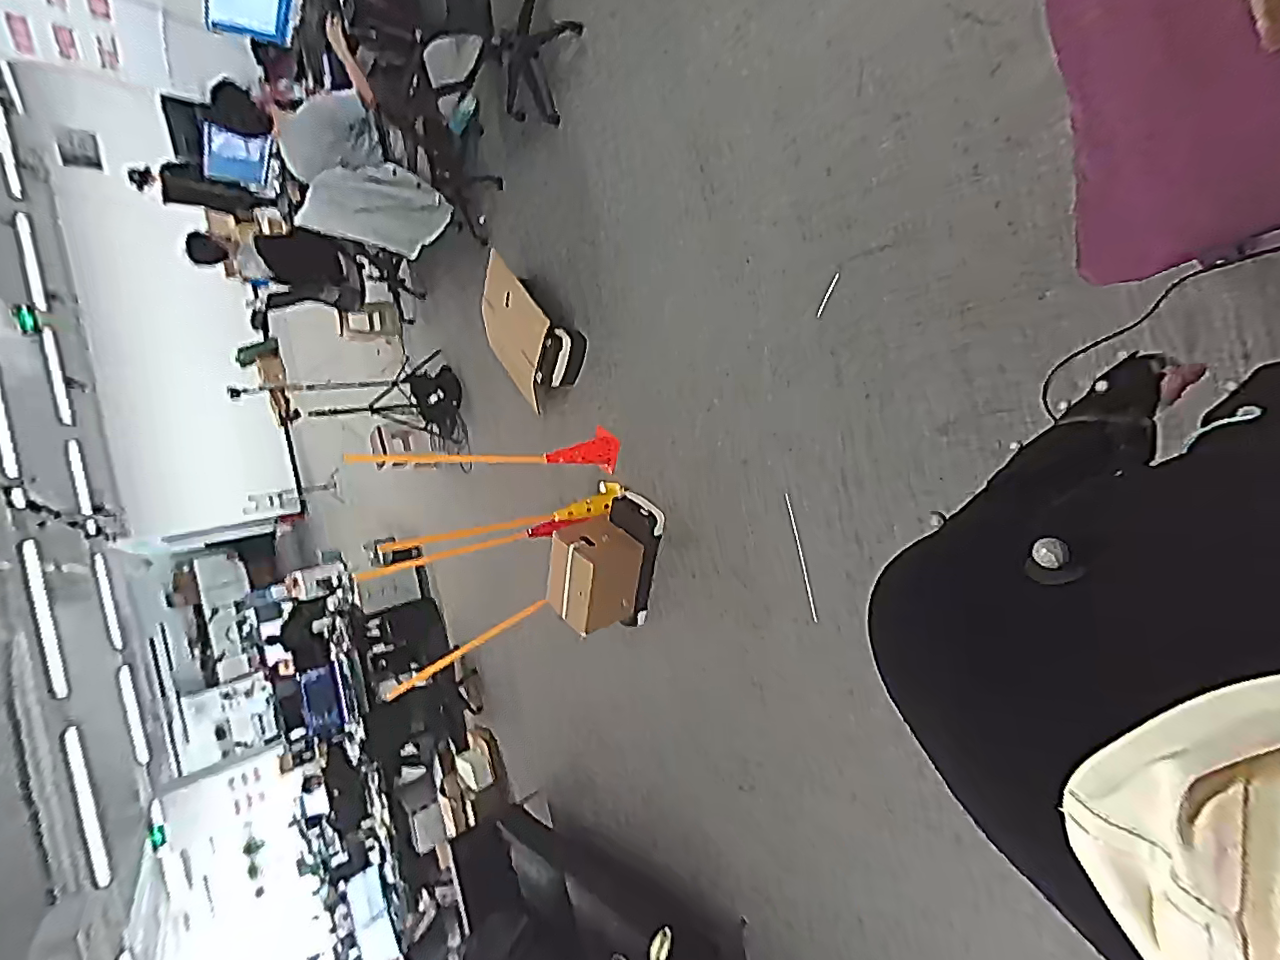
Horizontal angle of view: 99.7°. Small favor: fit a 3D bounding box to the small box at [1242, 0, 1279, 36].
[{"bbox_3d":[0.617,-0.539,0.457,0.168,0.176,0.179,-17,87,51],"label":"small box"}]
